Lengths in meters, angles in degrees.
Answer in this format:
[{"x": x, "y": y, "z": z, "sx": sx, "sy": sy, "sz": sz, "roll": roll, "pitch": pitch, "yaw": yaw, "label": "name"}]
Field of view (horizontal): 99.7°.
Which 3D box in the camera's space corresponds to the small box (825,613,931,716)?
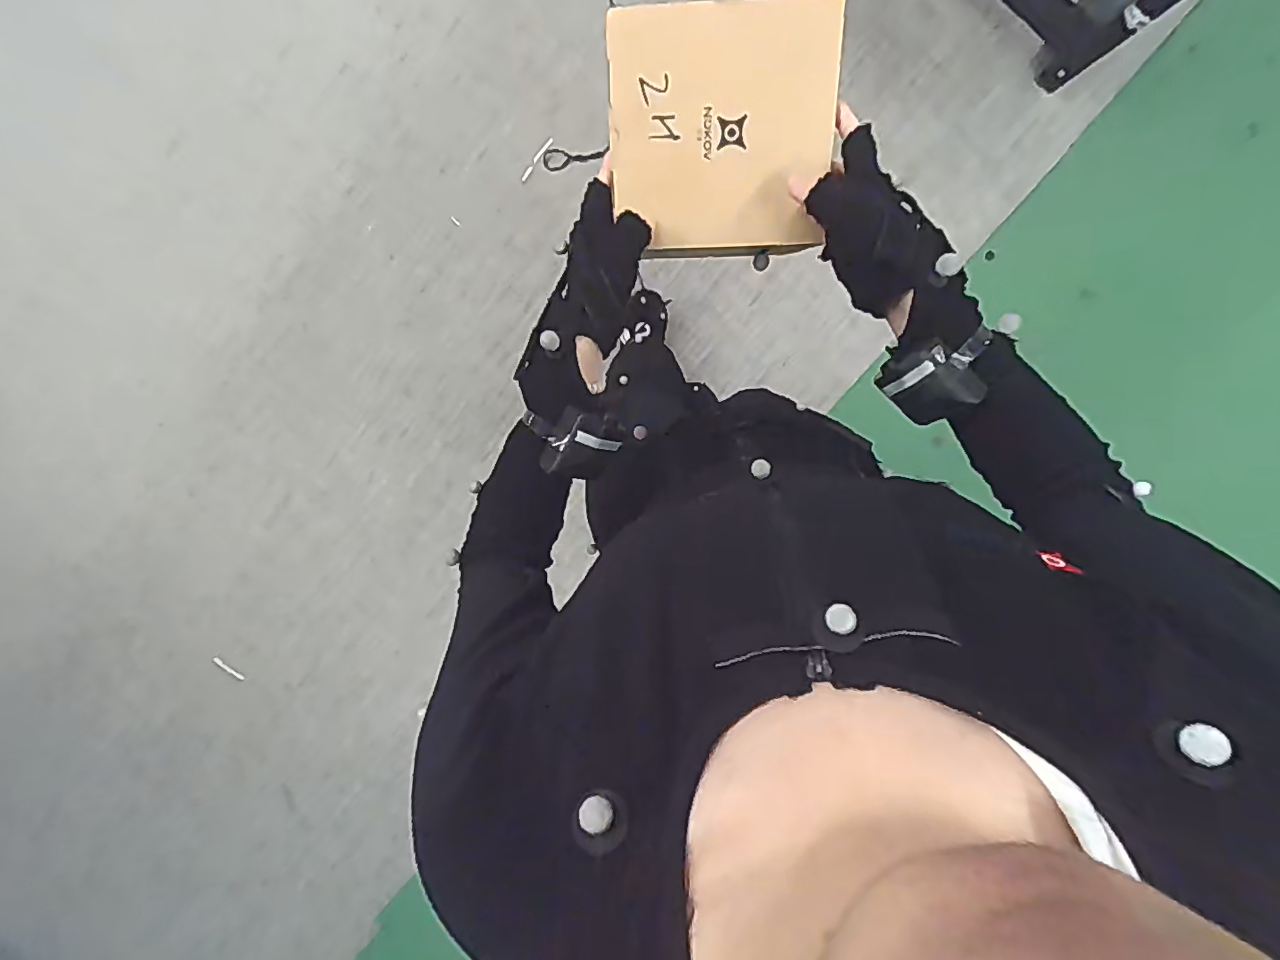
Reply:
[{"x": 0.649, "y": 0.502, "z": 1.496, "sx": 0.179, "sy": 0.176, "sz": 0.168, "roll": 39, "pitch": 100, "yaw": -5, "label": "small box"}]
